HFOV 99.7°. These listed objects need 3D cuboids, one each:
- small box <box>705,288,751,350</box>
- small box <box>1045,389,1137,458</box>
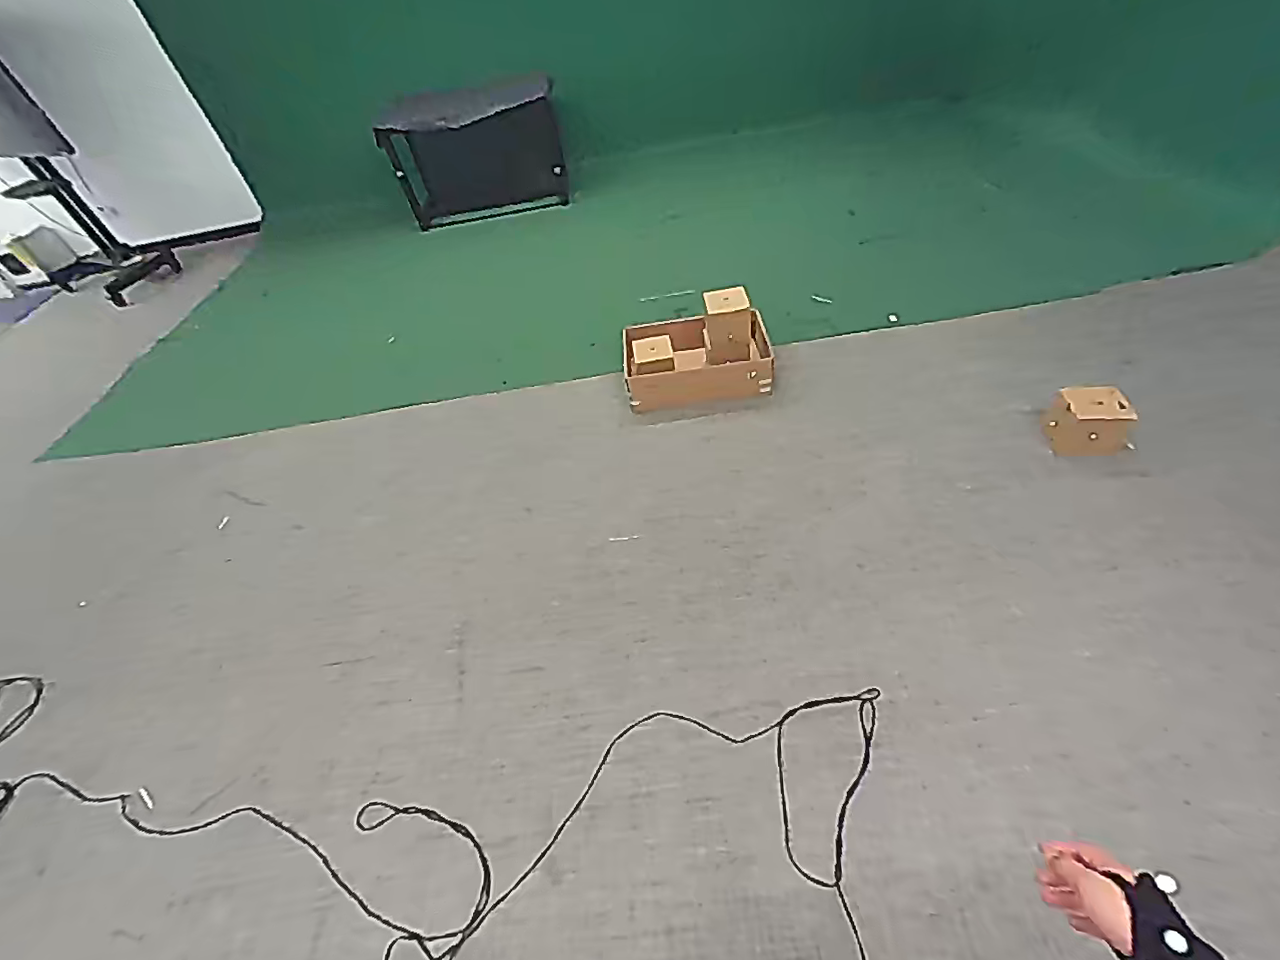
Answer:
[{"bbox_3d":[0.358,-0.655,2.211,0.168,0.176,0.179,-9,47,5],"label":"small box"},{"bbox_3d":[1.514,-0.188,1.833,0.179,0.176,0.168,0,47,13],"label":"small box"}]
